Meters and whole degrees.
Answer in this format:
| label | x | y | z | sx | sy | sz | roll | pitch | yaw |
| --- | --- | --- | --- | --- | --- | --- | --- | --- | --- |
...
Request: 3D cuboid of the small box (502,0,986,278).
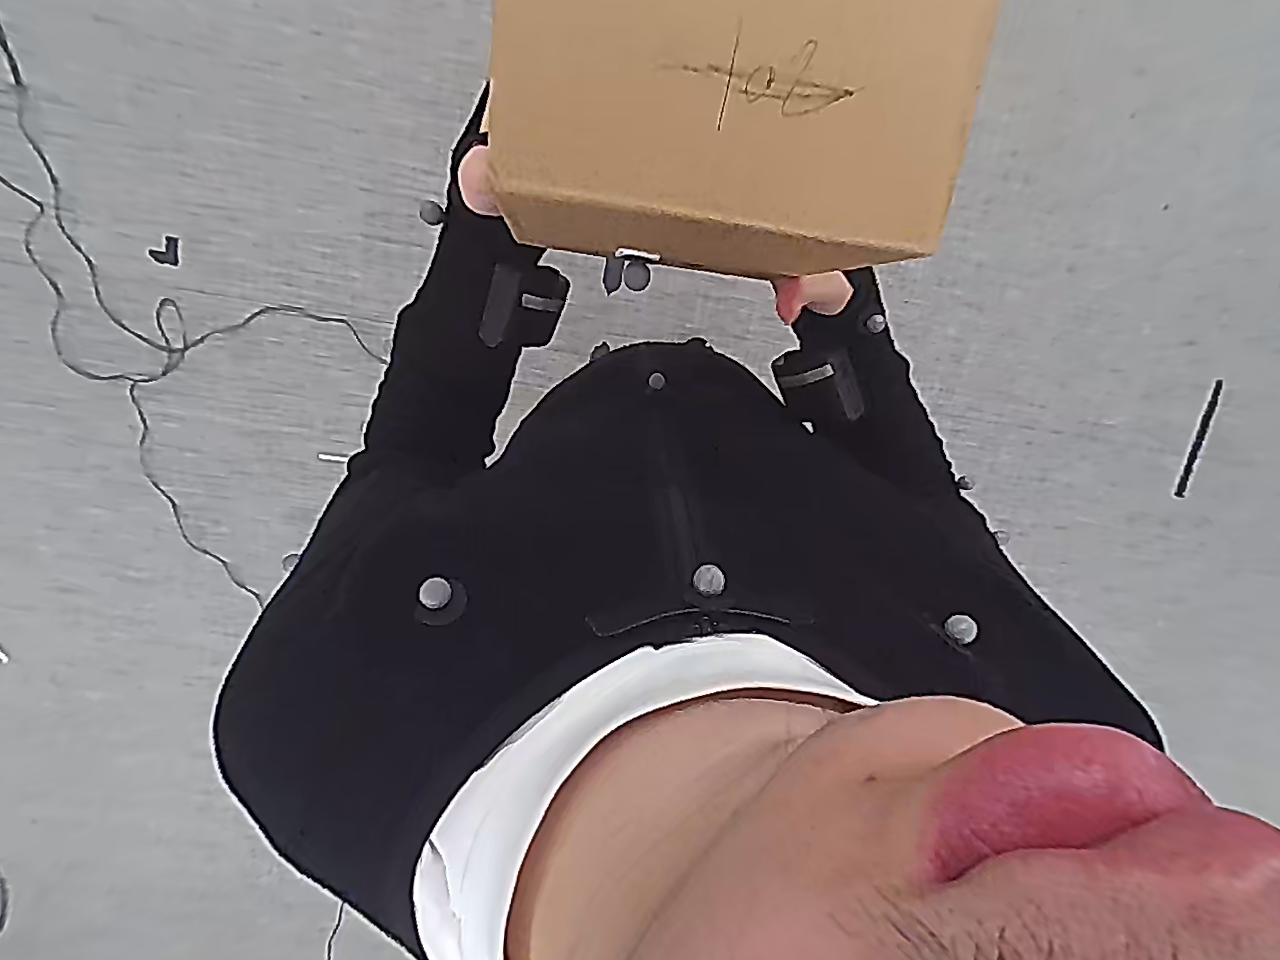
| label | x | y | z | sx | sy | sz | roll | pitch | yaw |
| --- | --- | --- | --- | --- | --- | --- | --- | --- | --- |
| small box | 0.030 | -0.200 | 0.253 | 0.168 | 0.176 | 0.179 | 4 | 107 | -9 |
